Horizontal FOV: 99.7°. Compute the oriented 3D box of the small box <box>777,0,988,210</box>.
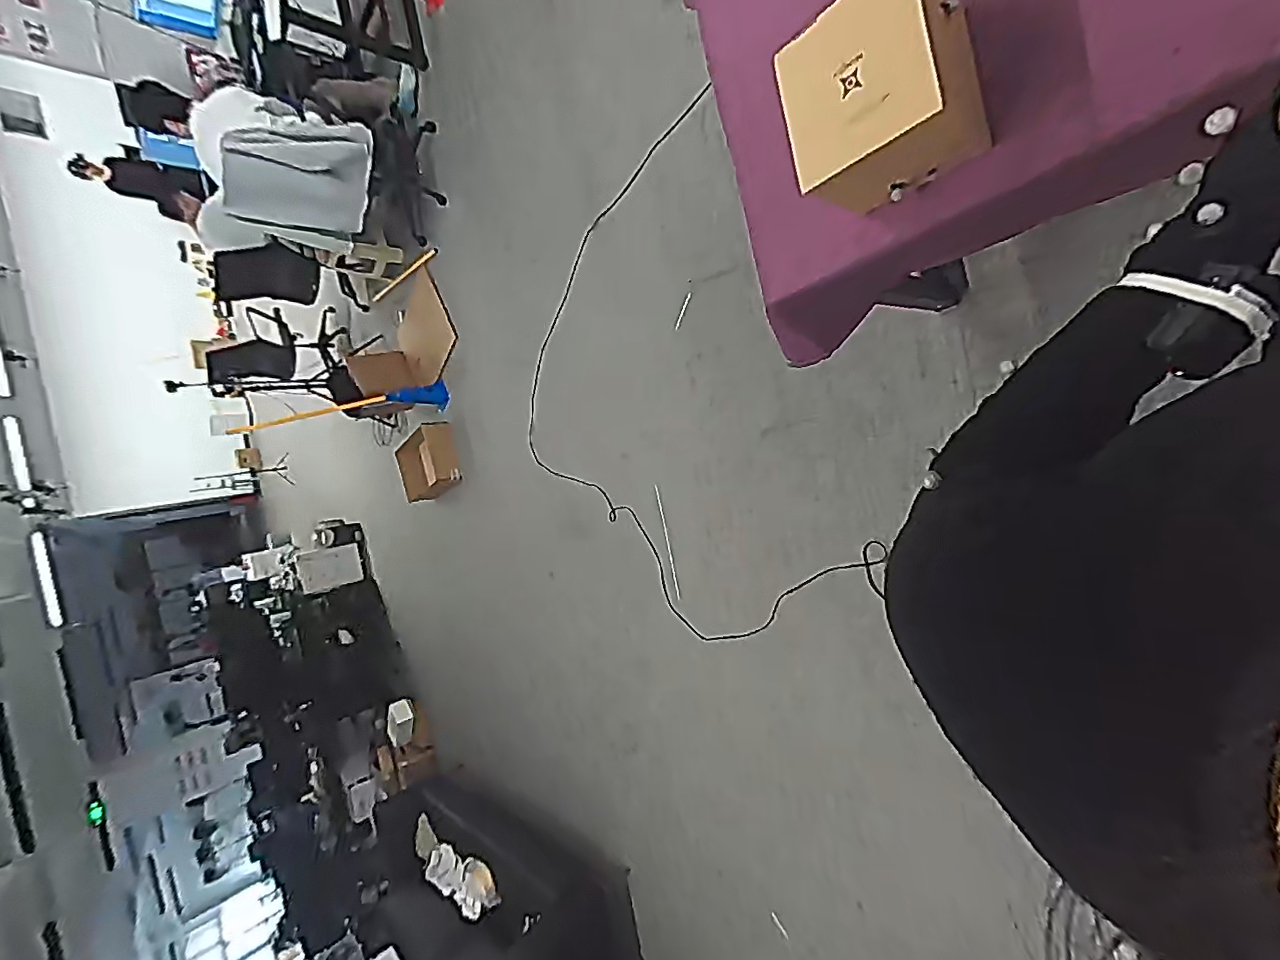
[{"bbox_3d":[0.297,-0.462,0.661,0.168,0.176,0.179,-11,92,49],"label":"small box"}]
